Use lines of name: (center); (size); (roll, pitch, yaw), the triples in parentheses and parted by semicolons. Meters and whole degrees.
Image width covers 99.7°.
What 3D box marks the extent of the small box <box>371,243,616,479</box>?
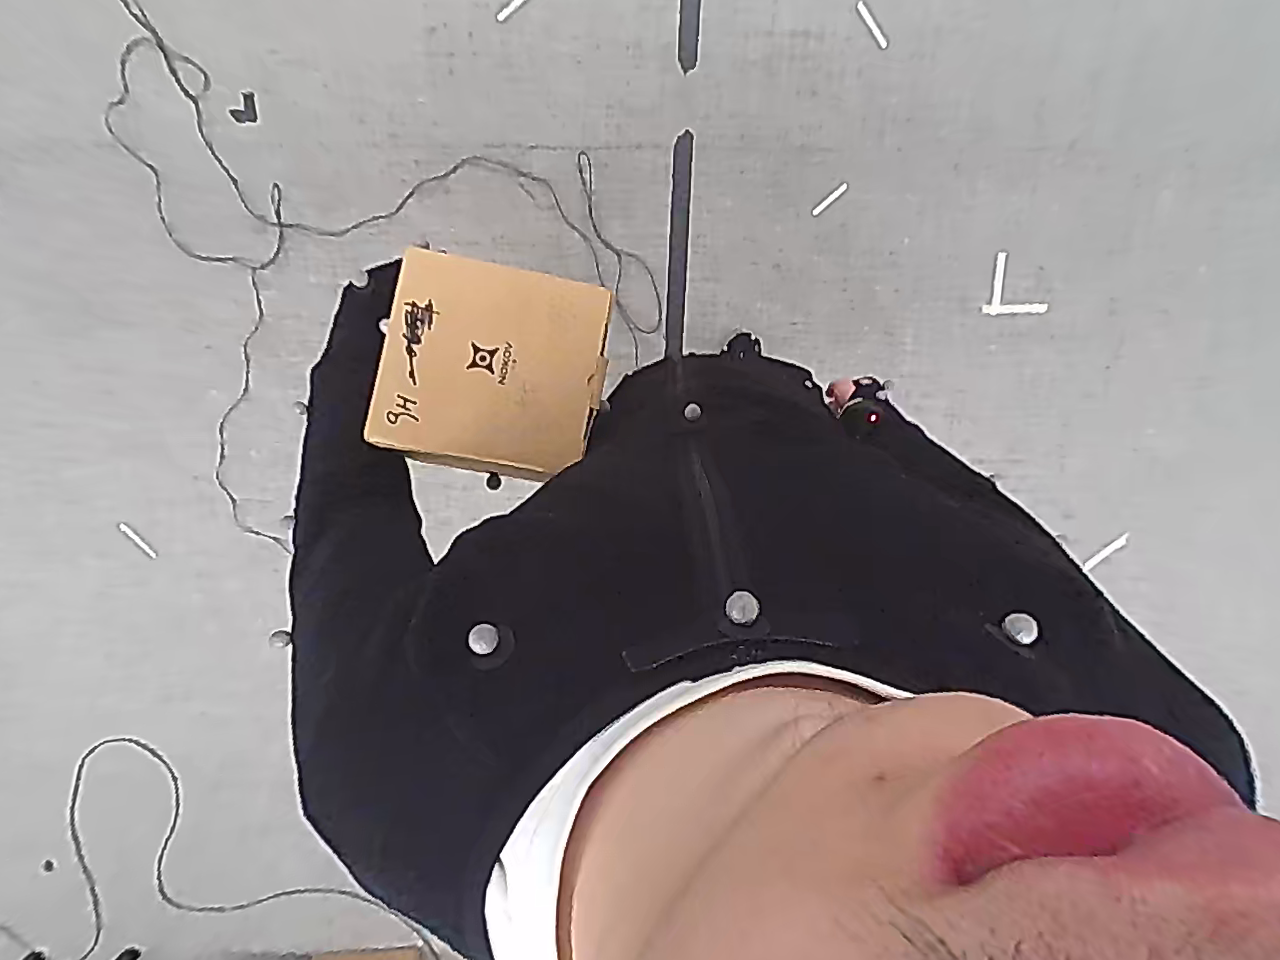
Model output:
small box: (-0.129, -0.097, 0.530); (0.179, 0.176, 0.168); (10, 84, -7)
